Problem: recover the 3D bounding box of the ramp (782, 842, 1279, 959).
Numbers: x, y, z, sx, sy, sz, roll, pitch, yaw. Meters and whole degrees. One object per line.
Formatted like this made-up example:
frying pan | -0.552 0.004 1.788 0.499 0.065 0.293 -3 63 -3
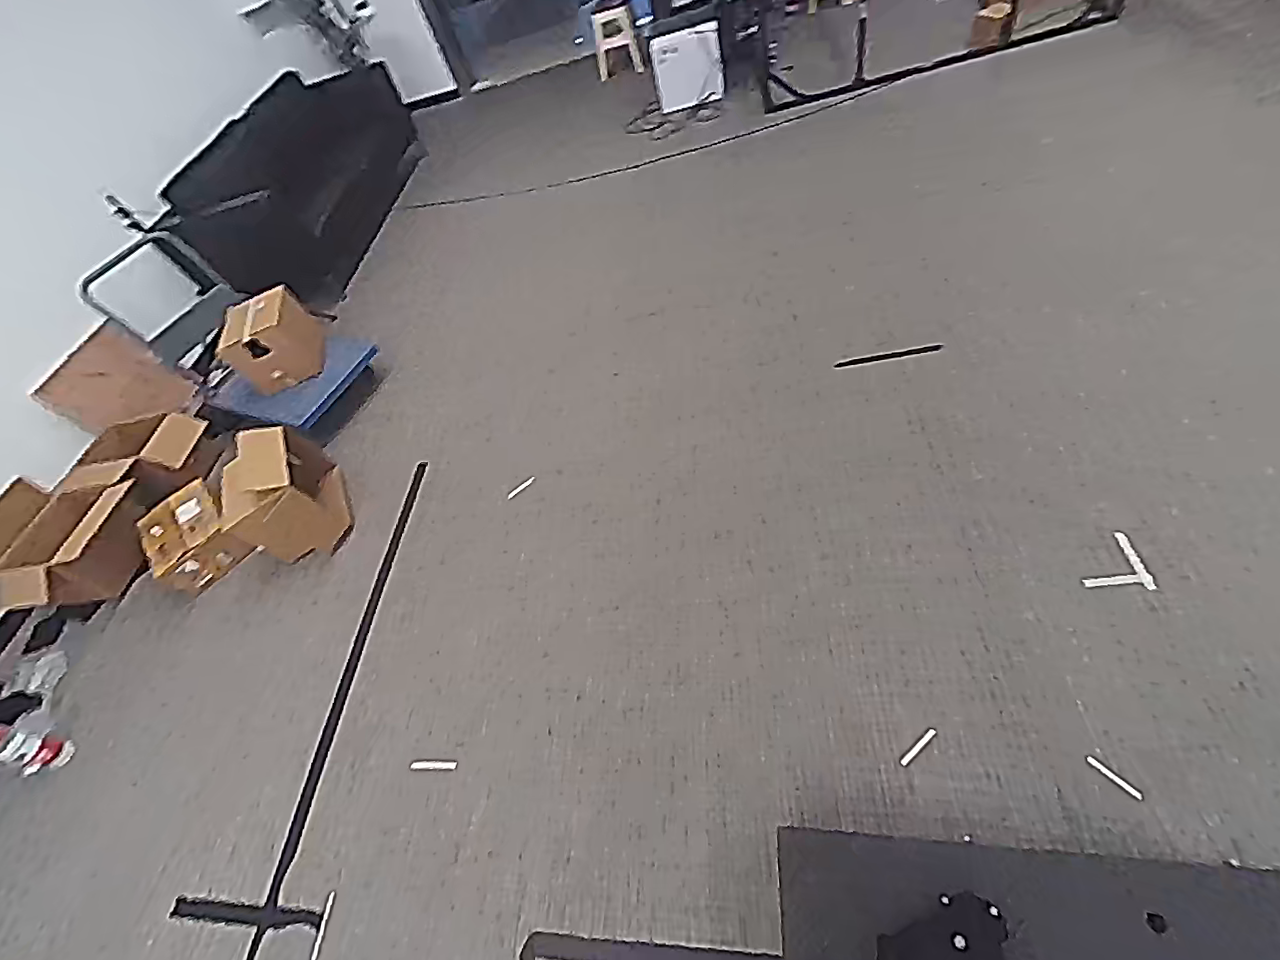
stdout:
ramp | 0.784 0.970 0.974 0.991 0.206 0.509 -8 51 13
